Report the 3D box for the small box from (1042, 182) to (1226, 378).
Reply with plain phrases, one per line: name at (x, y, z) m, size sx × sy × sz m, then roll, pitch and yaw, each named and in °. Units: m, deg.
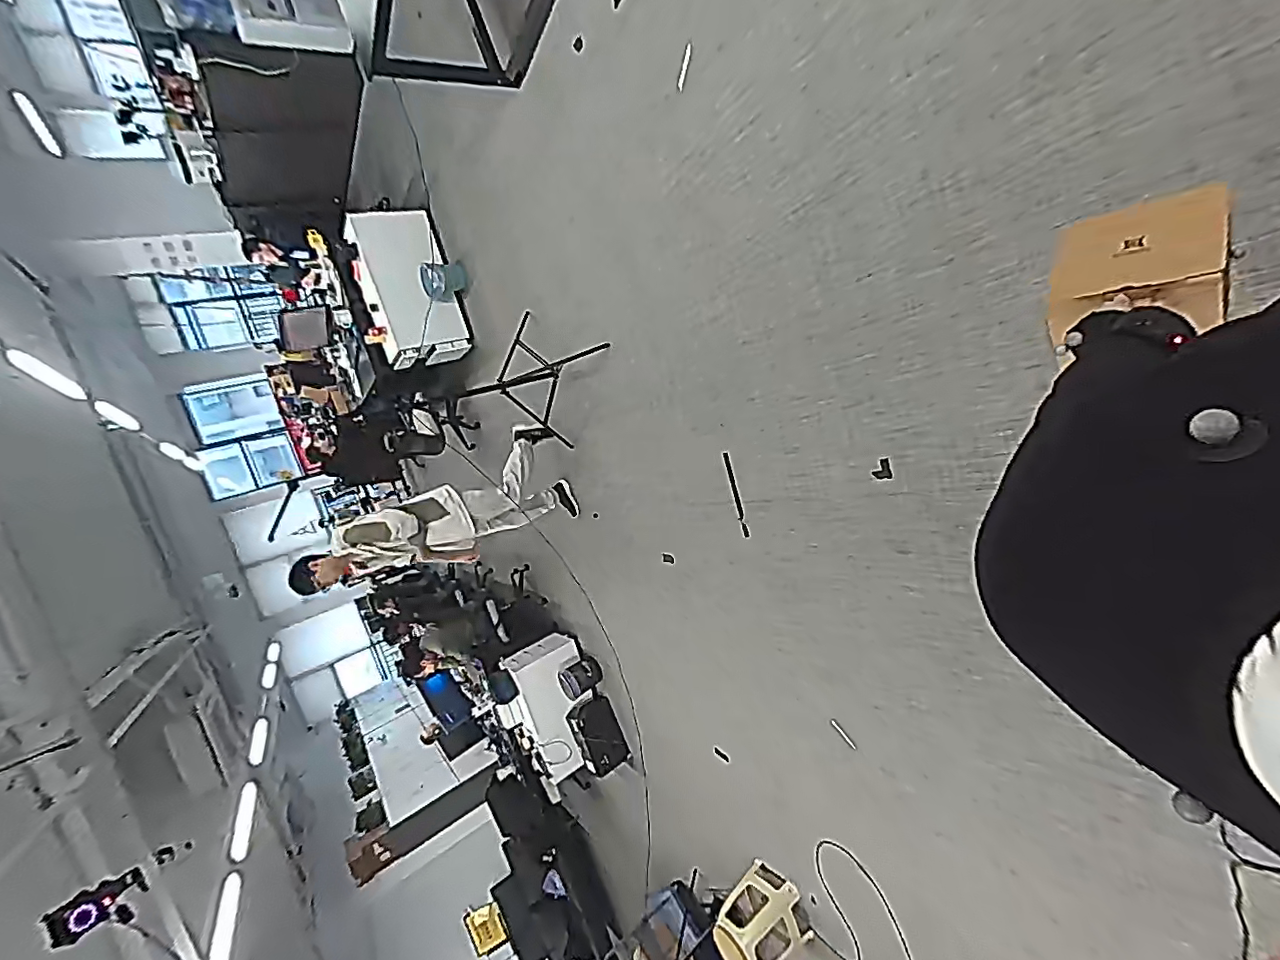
small box at (0.676, -0.255, 0.738) m, size 0.168 × 0.179 × 0.176 m, roll 3°, pitch 146°, yaw 47°
